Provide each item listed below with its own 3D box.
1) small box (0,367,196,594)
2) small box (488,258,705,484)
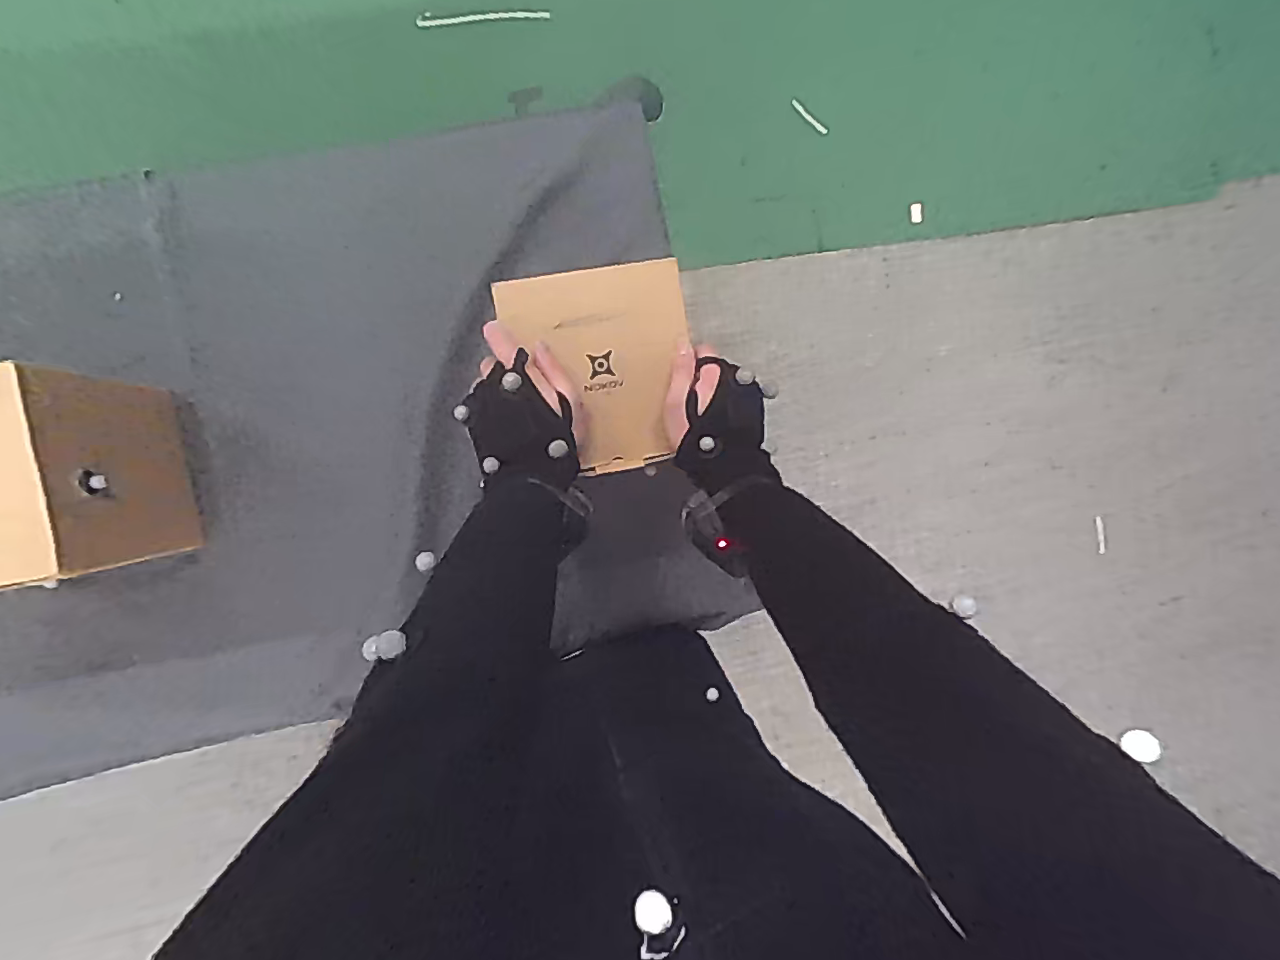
[{"bbox_3d":[-0.559,0.006,0.496,0.168,0.176,0.179,-11,93,-6],"label":"small box"},{"bbox_3d":[-0.044,-0.099,0.551,0.168,0.176,0.179,-12,93,-7],"label":"small box"}]
